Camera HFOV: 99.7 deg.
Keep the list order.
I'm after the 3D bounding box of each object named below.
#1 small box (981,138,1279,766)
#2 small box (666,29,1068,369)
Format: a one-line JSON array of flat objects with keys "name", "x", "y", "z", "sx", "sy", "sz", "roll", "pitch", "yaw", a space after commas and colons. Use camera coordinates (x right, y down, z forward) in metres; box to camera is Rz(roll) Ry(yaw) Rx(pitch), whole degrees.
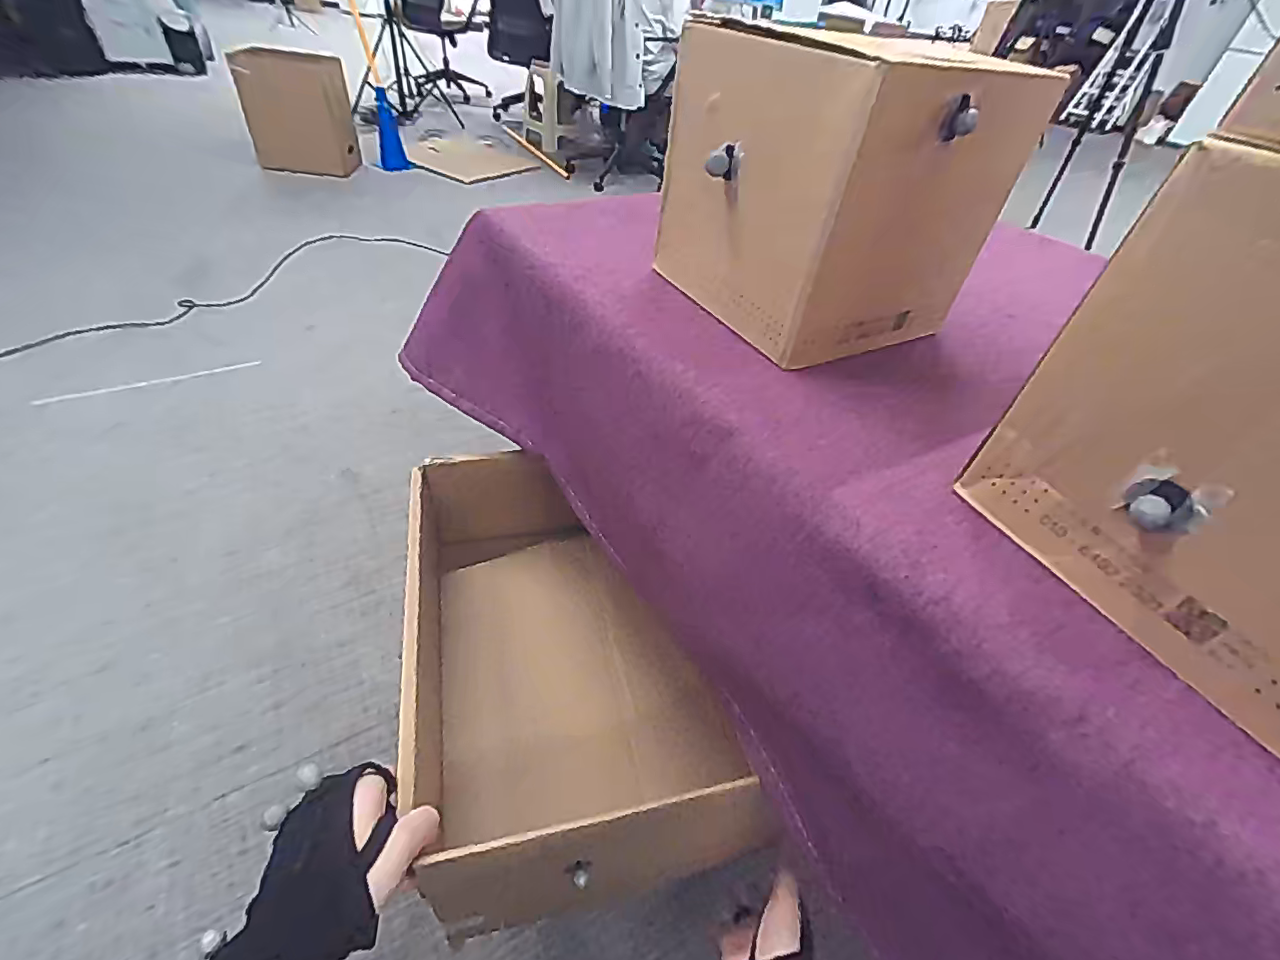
[{"name": "small box", "x": 0.288, "y": -0.017, "z": 0.215, "sx": 0.179, "sy": 0.176, "sz": 0.168, "roll": -15, "pitch": 47, "yaw": -21}, {"name": "small box", "x": 0.133, "y": -0.202, "z": 0.389, "sx": 0.168, "sy": 0.176, "sz": 0.179, "roll": -19, "pitch": 48, "yaw": -25}]
